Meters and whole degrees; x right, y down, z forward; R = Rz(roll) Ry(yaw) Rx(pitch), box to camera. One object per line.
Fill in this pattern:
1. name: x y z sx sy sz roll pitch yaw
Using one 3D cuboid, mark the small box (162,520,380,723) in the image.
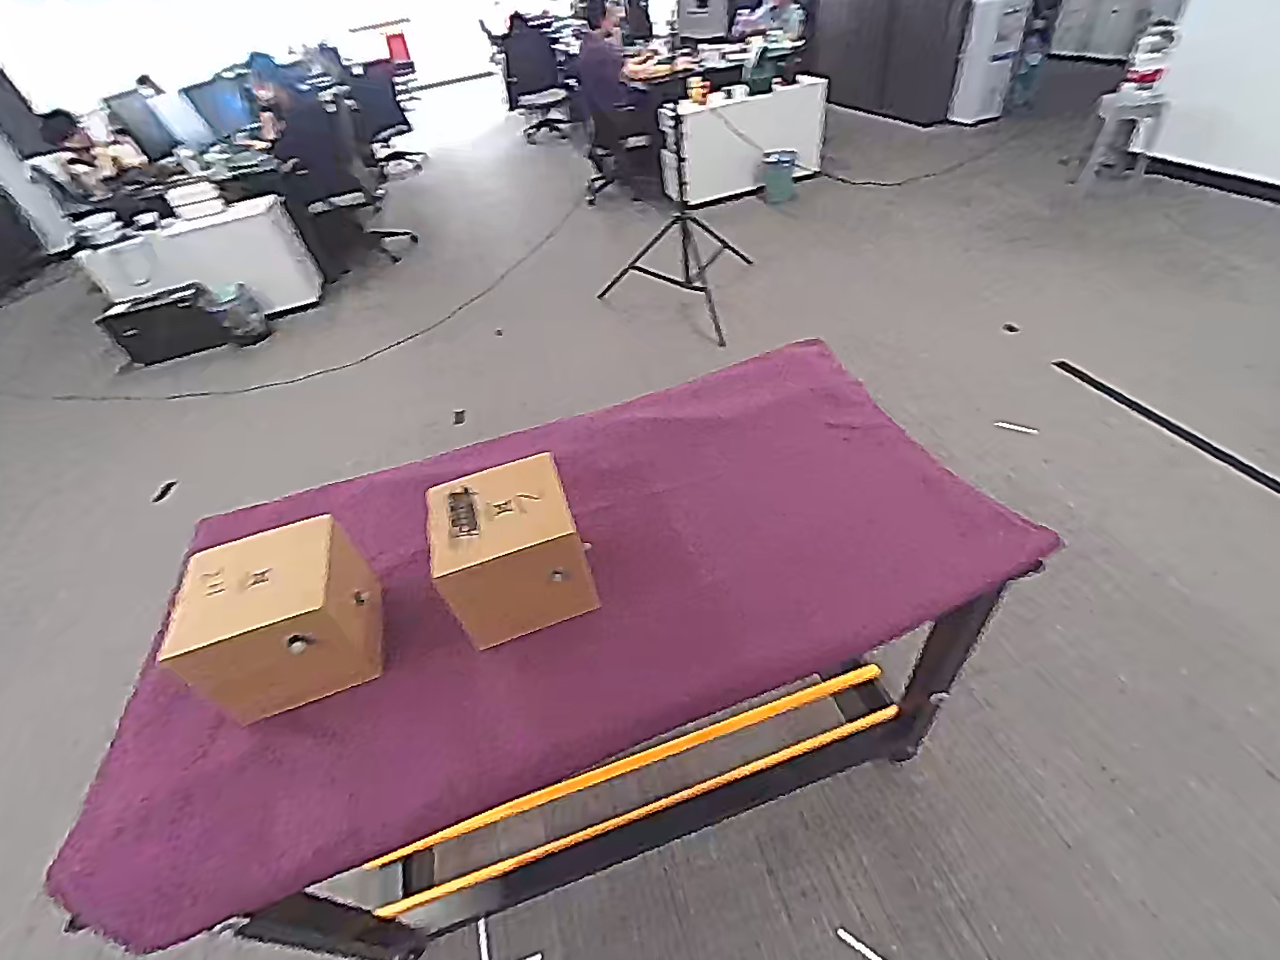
1. small box: -0.464 0.188 0.719 0.179 0.176 0.168 -18 43 -11
